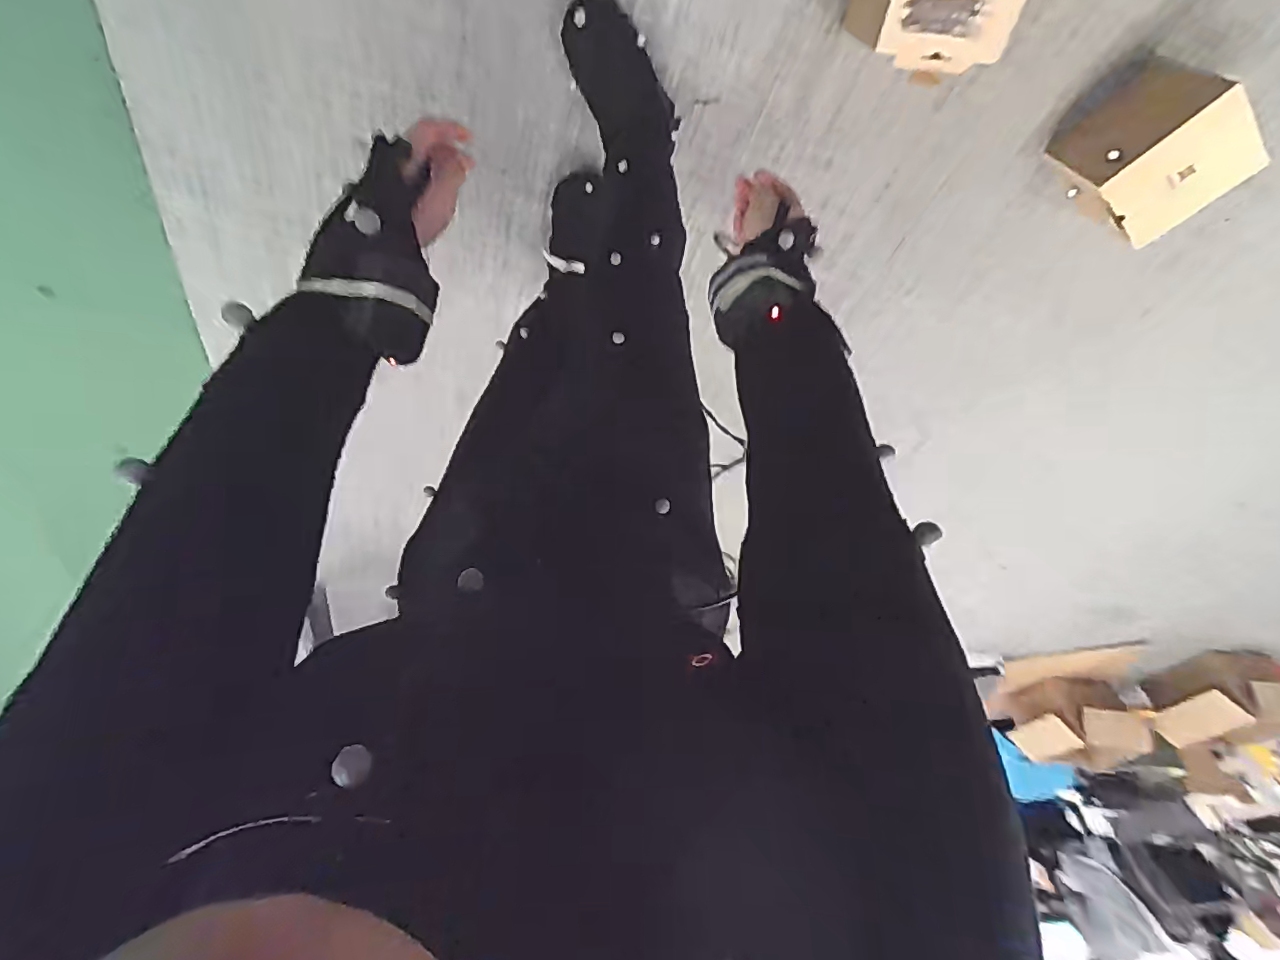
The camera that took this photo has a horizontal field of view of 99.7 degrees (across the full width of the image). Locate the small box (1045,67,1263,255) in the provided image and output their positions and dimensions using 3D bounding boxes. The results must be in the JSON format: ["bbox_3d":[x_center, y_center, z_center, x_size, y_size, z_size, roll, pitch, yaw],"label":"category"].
[{"bbox_3d":[0.811,-0.512,0.868,0.168,0.176,0.179,27,131,-28],"label":"small box"}]
